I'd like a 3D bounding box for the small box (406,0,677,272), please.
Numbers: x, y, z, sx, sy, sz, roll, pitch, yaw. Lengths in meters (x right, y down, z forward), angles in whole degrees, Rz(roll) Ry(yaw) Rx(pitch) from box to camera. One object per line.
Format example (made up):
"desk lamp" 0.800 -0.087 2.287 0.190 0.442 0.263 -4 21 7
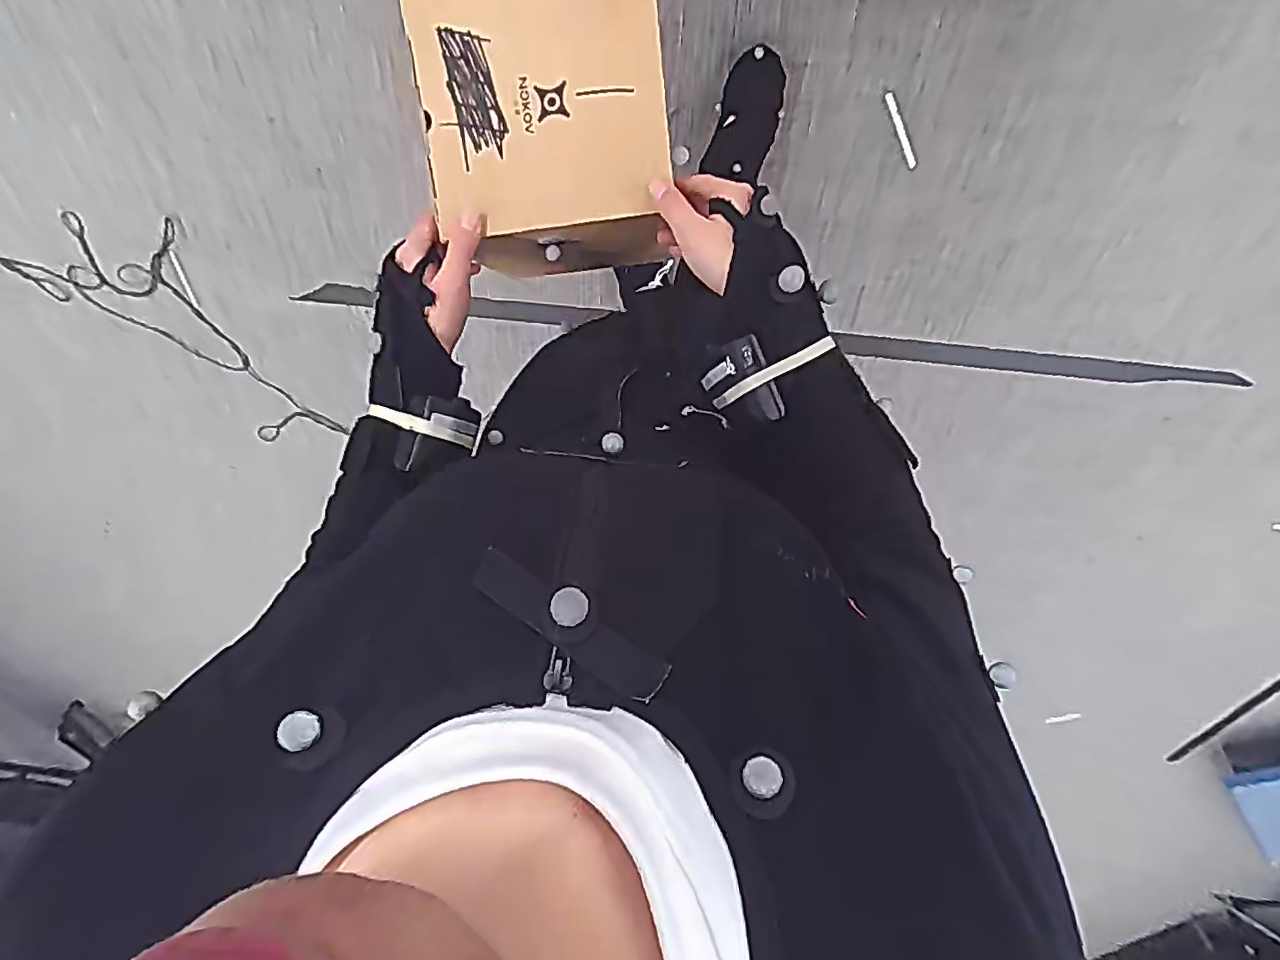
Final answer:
"small box" -0.062 -0.280 0.448 0.179 0.176 0.168 -5 100 4
